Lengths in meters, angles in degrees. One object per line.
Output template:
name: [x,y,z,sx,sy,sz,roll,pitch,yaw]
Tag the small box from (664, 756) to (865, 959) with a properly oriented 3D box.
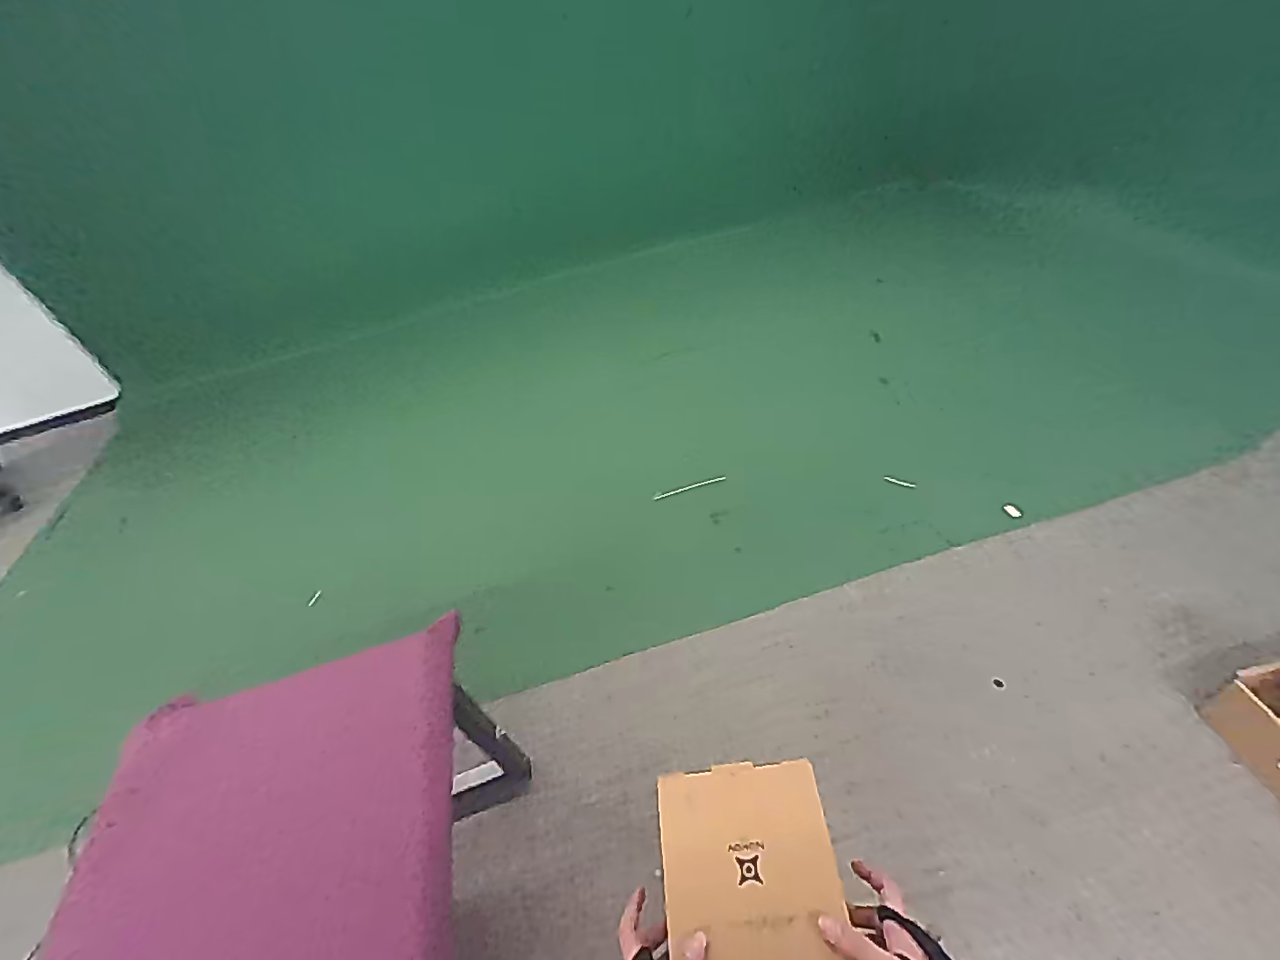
small box: [0.120,0.415,0.573,0.168,0.176,0.179,-9,48,5]
